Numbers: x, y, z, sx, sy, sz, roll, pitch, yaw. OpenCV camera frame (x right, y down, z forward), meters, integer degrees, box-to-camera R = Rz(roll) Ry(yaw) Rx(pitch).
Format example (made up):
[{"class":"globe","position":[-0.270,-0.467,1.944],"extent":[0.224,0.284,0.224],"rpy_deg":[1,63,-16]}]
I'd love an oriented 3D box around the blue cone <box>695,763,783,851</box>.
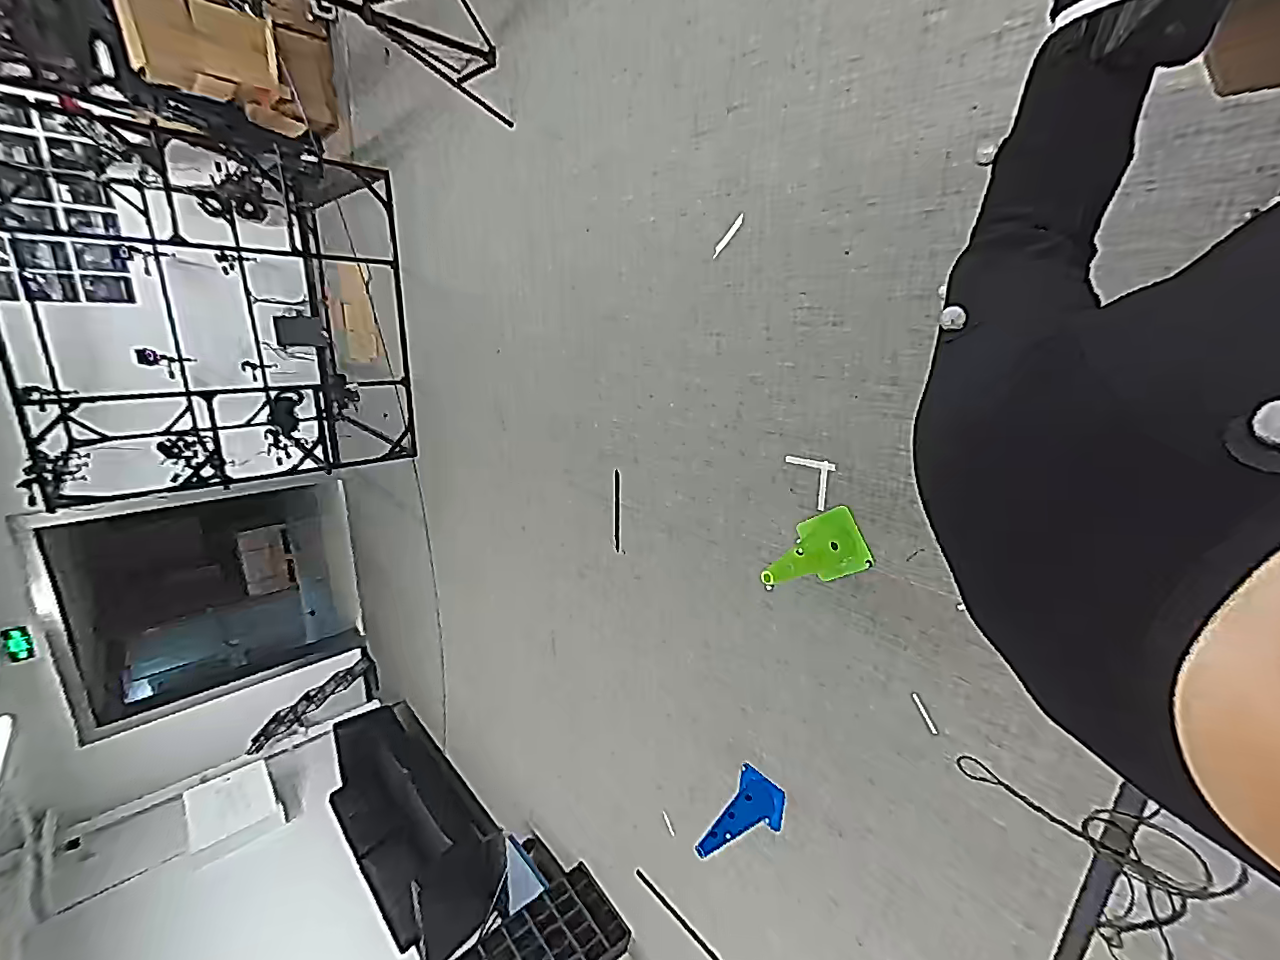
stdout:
[{"class":"blue cone","position":[0.351,1.258,2.009],"extent":[0.192,0.380,0.193],"rpy_deg":[24,117,44]}]

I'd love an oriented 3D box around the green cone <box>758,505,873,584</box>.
[{"class":"green cone","position":[0.470,0.224,1.563],"extent":[0.202,0.368,0.200],"rpy_deg":[-37,72,49]}]

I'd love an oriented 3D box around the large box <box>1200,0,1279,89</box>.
[{"class":"large box","position":[0.568,-0.434,0.236],"extent":[0.408,0.320,0.320],"rpy_deg":[18,118,44]}]
